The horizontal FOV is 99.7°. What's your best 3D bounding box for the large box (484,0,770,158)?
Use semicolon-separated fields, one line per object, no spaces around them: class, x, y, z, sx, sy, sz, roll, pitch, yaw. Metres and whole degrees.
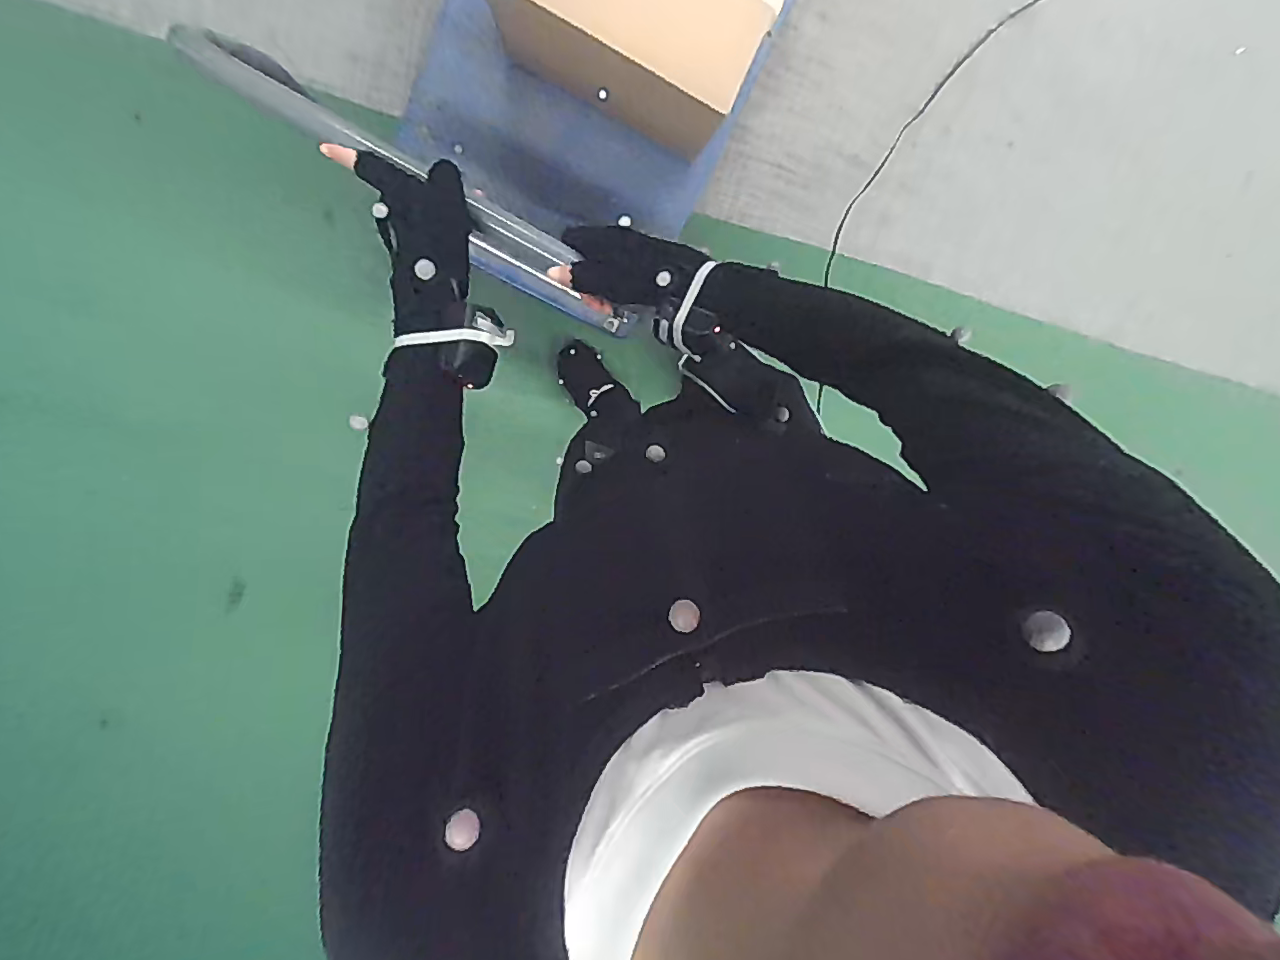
large box;-0.001;-0.811;0.892;0.408;0.320;0.320;24;104;-11
